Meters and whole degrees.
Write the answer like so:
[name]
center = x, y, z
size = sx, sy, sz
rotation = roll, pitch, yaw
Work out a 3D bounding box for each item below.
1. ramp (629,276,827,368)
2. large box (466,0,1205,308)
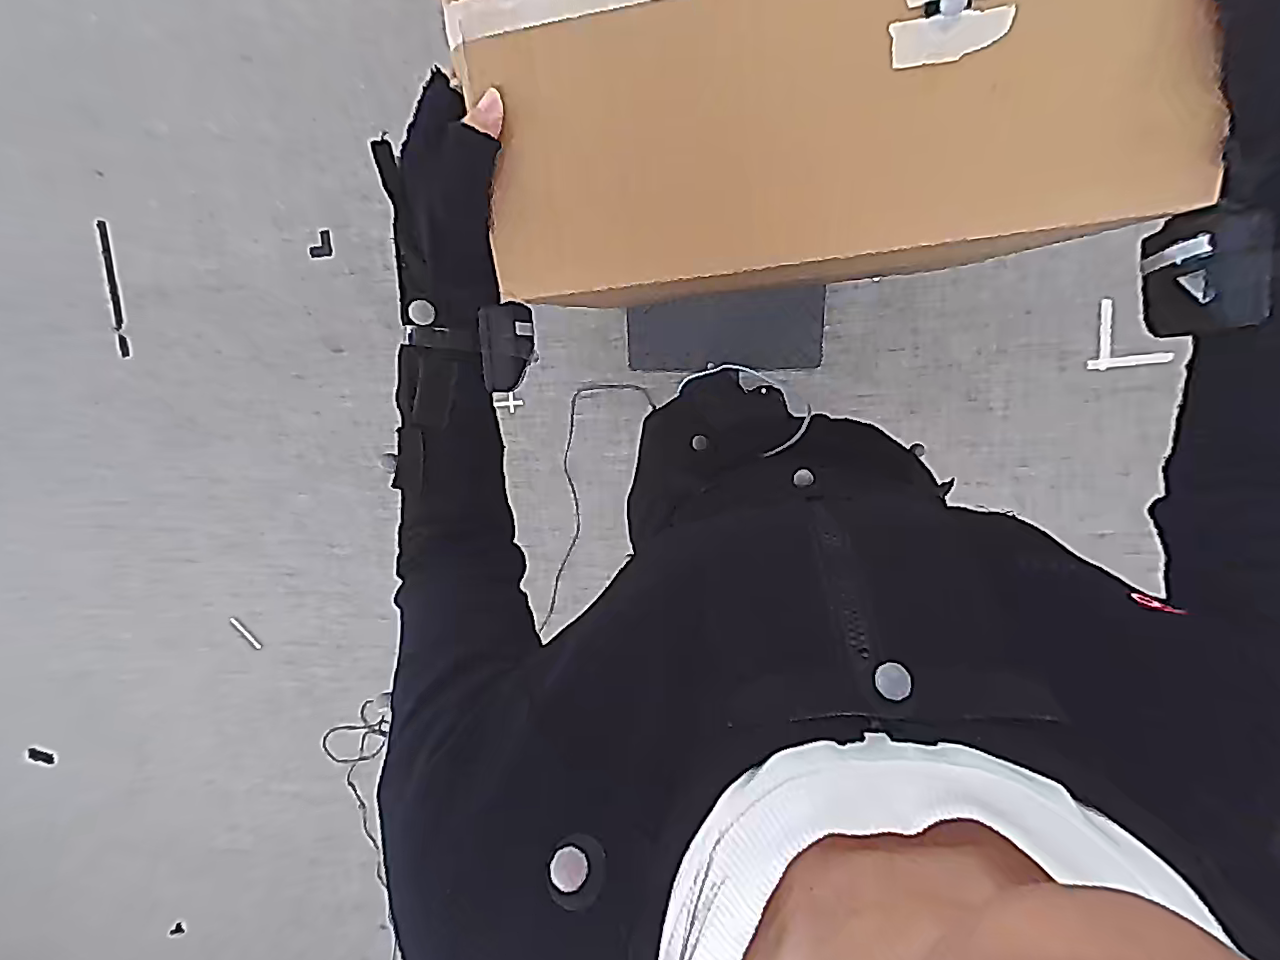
[ramp]
center = 0.197, -0.764, 1.232
size = 0.509, 0.206, 0.991
rotation = -1, 101, 9
[large box]
center = 0.109, -0.331, 0.440
size = 0.408, 0.320, 0.320
rotation = -5, 106, 10
